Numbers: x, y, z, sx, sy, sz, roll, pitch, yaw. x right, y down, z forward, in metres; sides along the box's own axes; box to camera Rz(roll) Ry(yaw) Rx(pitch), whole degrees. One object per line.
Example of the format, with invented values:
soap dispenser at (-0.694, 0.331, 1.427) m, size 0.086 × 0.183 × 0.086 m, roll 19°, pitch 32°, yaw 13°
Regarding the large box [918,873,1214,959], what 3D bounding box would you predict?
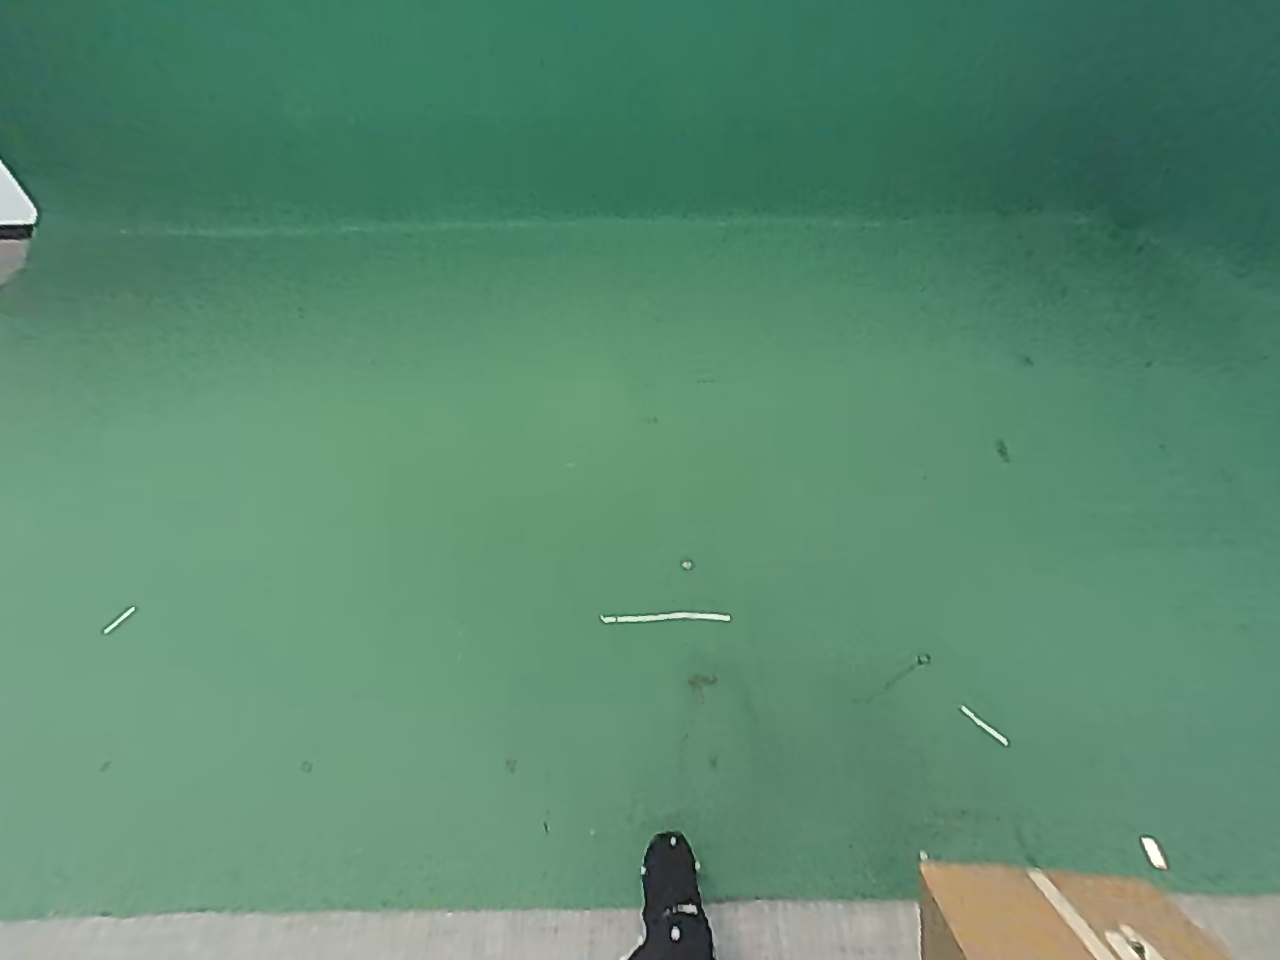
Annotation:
large box at (0.543, 0.735, 0.594) m, size 0.320 × 0.408 × 0.320 m, roll 1°, pitch 88°, yaw 9°
